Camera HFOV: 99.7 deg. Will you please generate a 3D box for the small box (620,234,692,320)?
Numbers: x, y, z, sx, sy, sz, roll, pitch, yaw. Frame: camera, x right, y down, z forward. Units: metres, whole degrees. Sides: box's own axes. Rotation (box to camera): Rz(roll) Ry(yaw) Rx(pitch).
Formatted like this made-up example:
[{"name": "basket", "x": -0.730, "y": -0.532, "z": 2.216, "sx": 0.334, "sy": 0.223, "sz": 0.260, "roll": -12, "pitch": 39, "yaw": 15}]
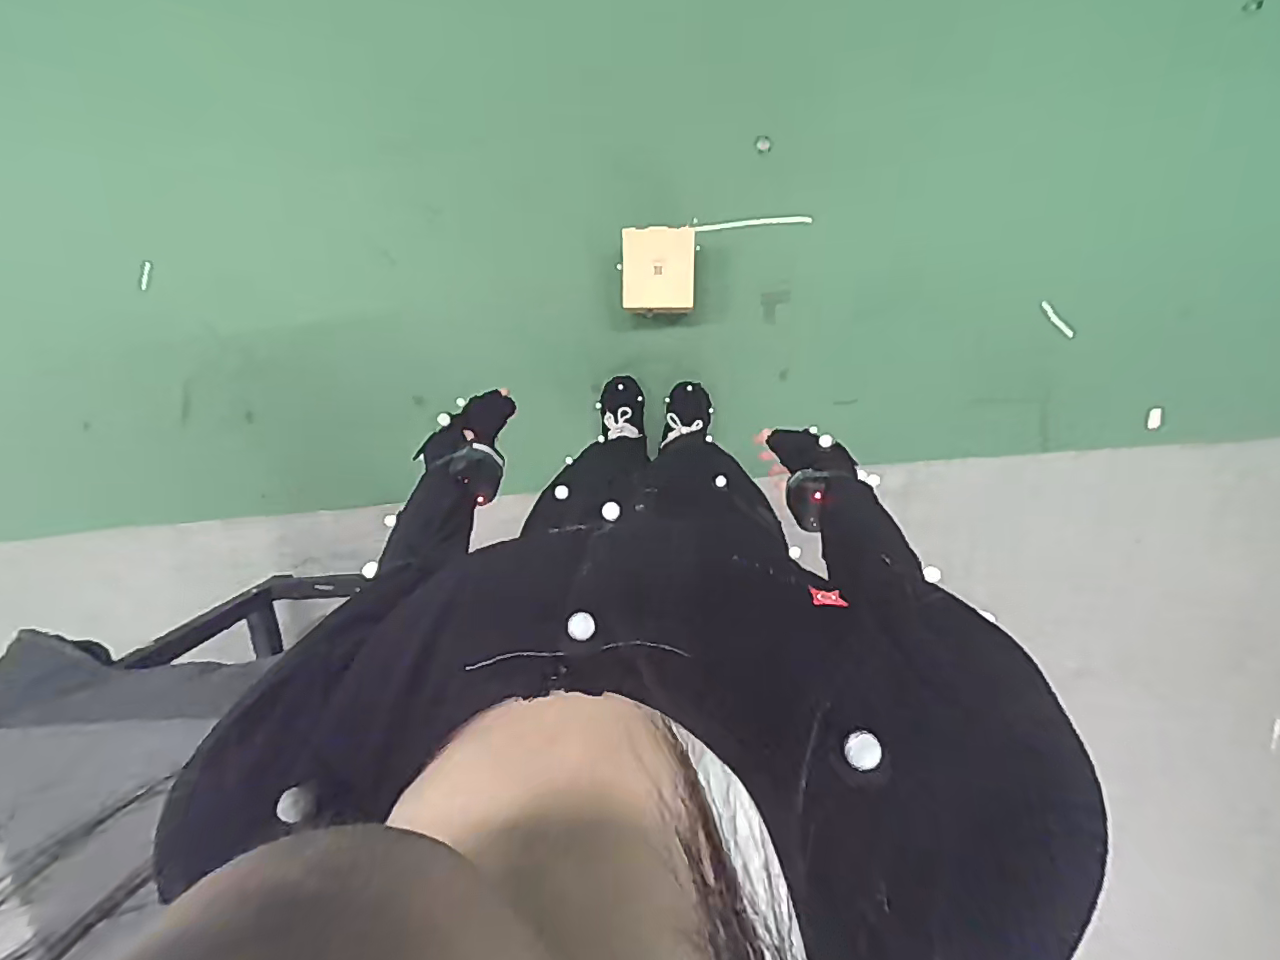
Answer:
[{"name": "small box", "x": 0.041, "y": -0.487, "z": 1.317, "sx": 0.168, "sy": 0.176, "sz": 0.179, "roll": 1, "pitch": 101, "yaw": 3}]
